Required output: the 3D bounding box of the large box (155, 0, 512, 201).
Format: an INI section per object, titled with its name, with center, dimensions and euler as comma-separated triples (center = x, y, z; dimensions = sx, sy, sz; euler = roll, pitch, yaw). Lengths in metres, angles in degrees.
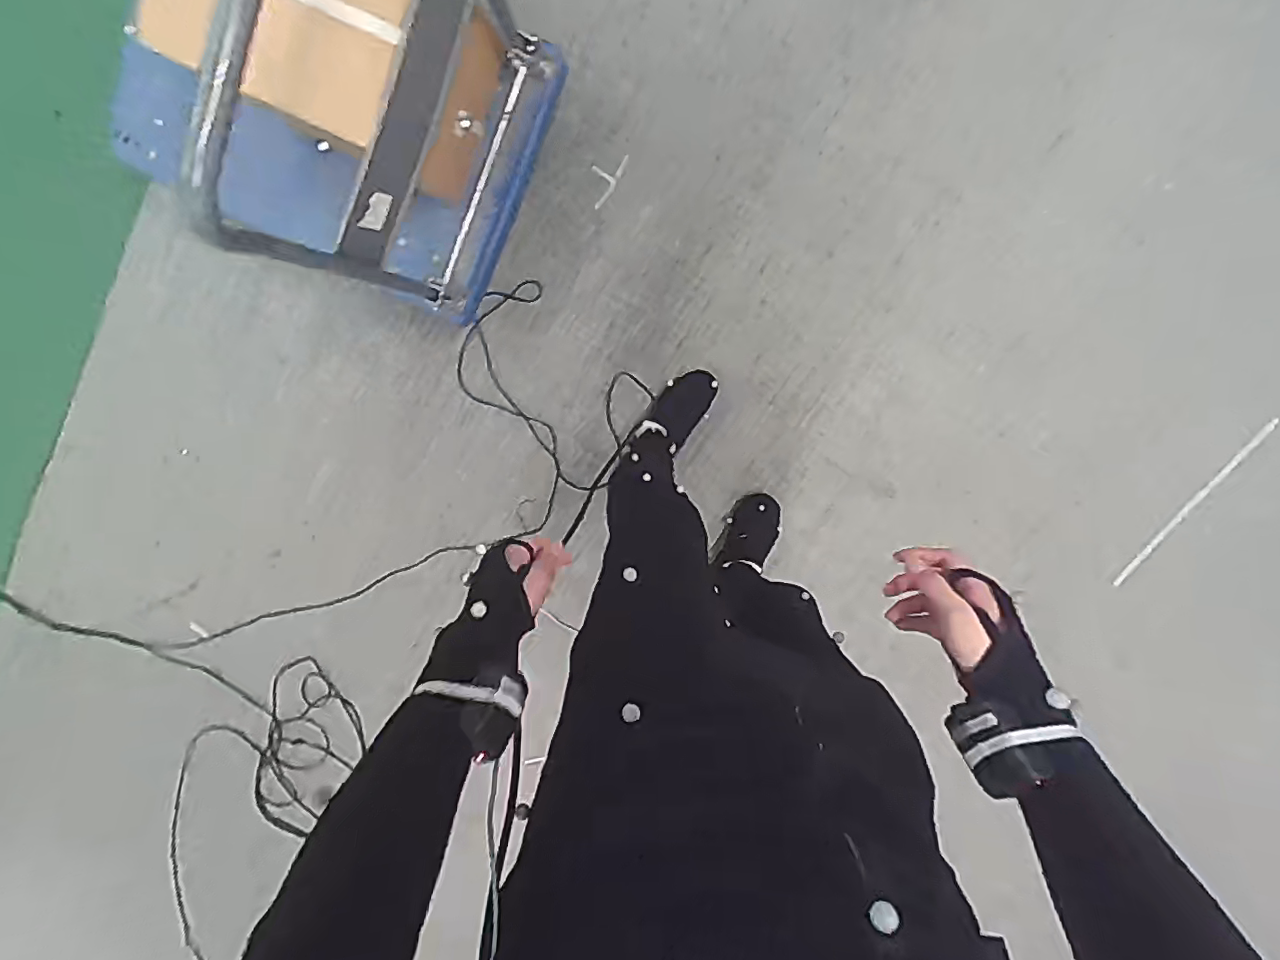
[large box]
center = -0.499, -0.754, 0.945
dimensions = 0.408, 0.320, 0.320
euler = 26, 103, 1
